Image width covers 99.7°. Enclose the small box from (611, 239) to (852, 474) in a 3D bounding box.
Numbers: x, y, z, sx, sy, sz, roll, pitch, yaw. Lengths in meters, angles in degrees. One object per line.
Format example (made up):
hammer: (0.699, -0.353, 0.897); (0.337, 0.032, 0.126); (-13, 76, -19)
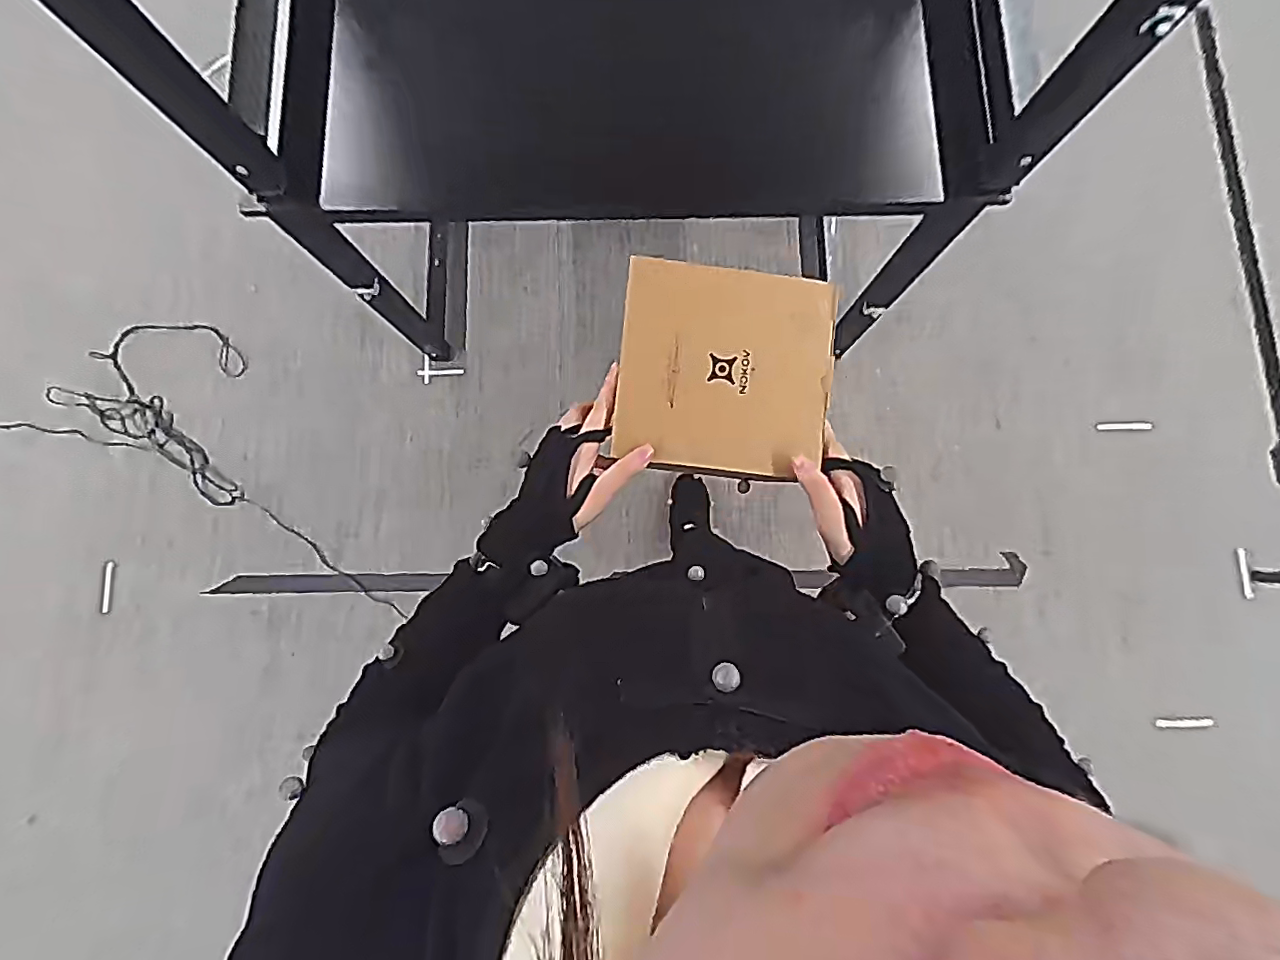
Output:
small box: (0.070, -0.098, 0.506); (0.179, 0.176, 0.168); (7, 89, -3)
